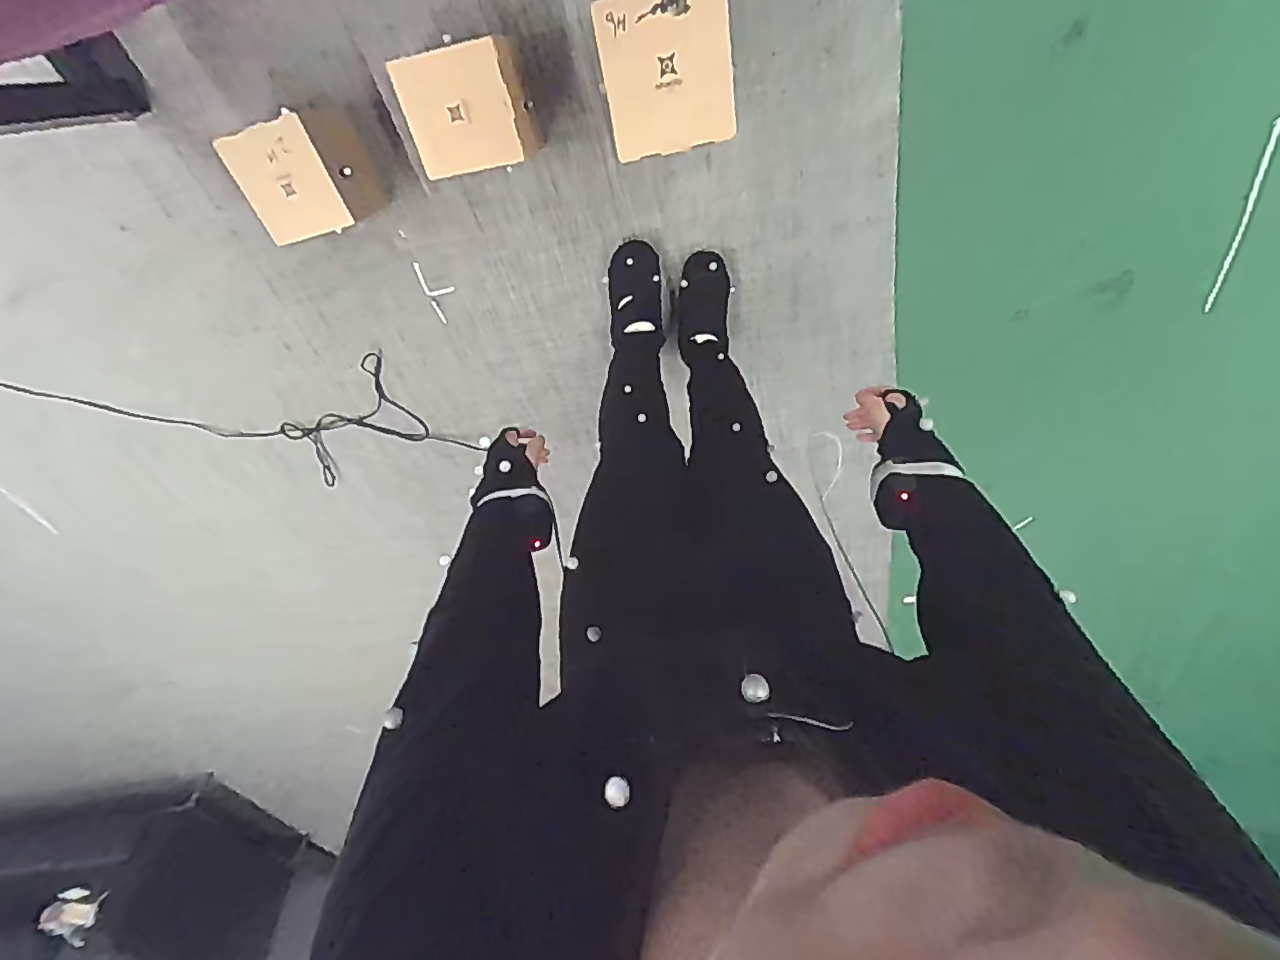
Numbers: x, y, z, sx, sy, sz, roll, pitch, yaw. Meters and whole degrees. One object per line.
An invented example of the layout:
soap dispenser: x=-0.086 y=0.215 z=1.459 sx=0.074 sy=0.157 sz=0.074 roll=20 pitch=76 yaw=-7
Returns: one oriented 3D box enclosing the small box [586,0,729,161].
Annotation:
small box: x=0.031 y=-0.572 z=0.754 sx=0.168 sy=0.176 sz=0.179 roll=-7 pitch=129 yaw=7
